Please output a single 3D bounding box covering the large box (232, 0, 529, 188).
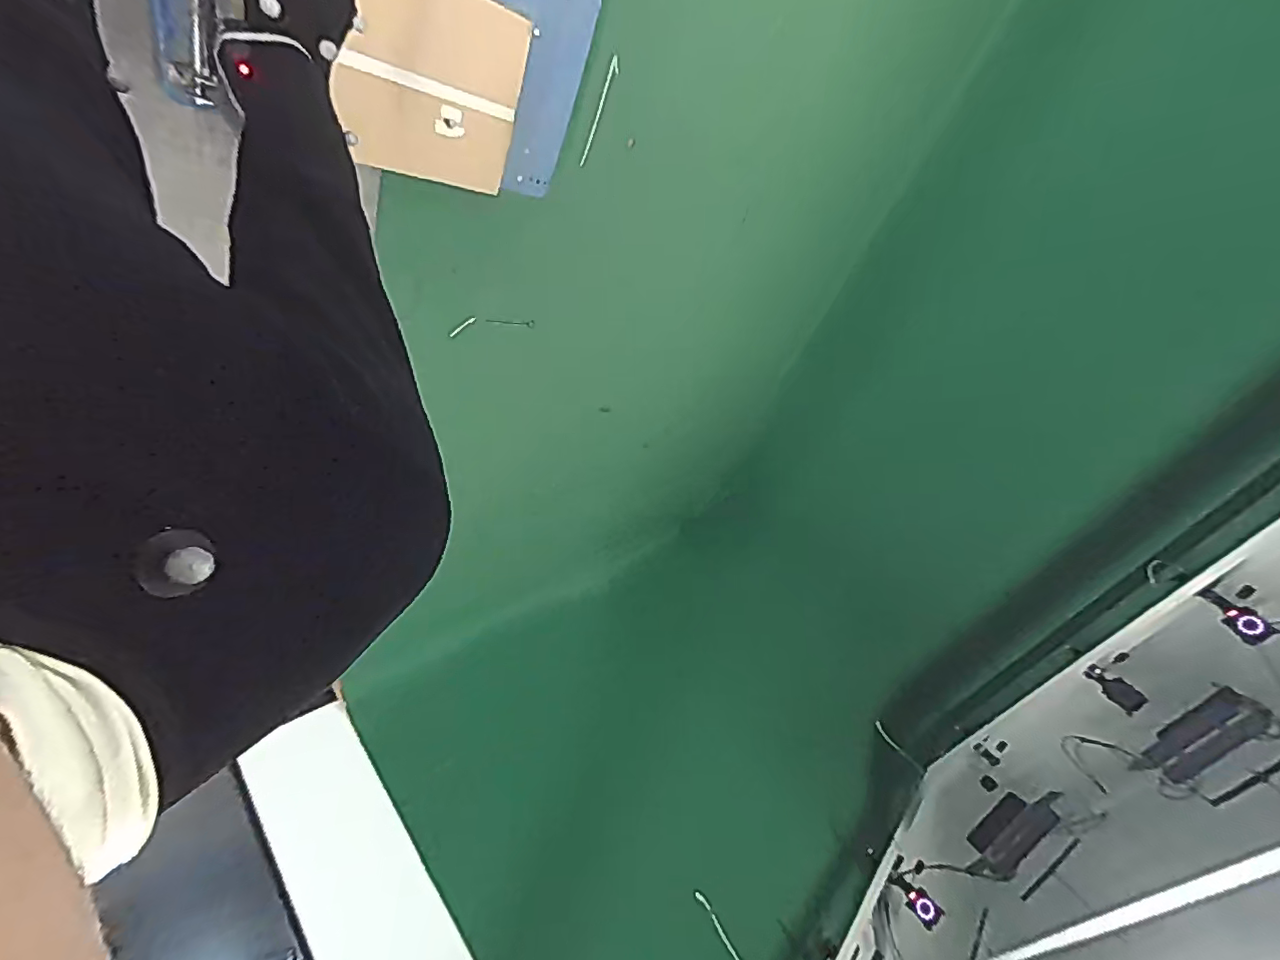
[{"bbox_3d":[-0.491,-0.802,1.021,0.408,0.320,0.320,-16,142,-46],"label":"large box"}]
